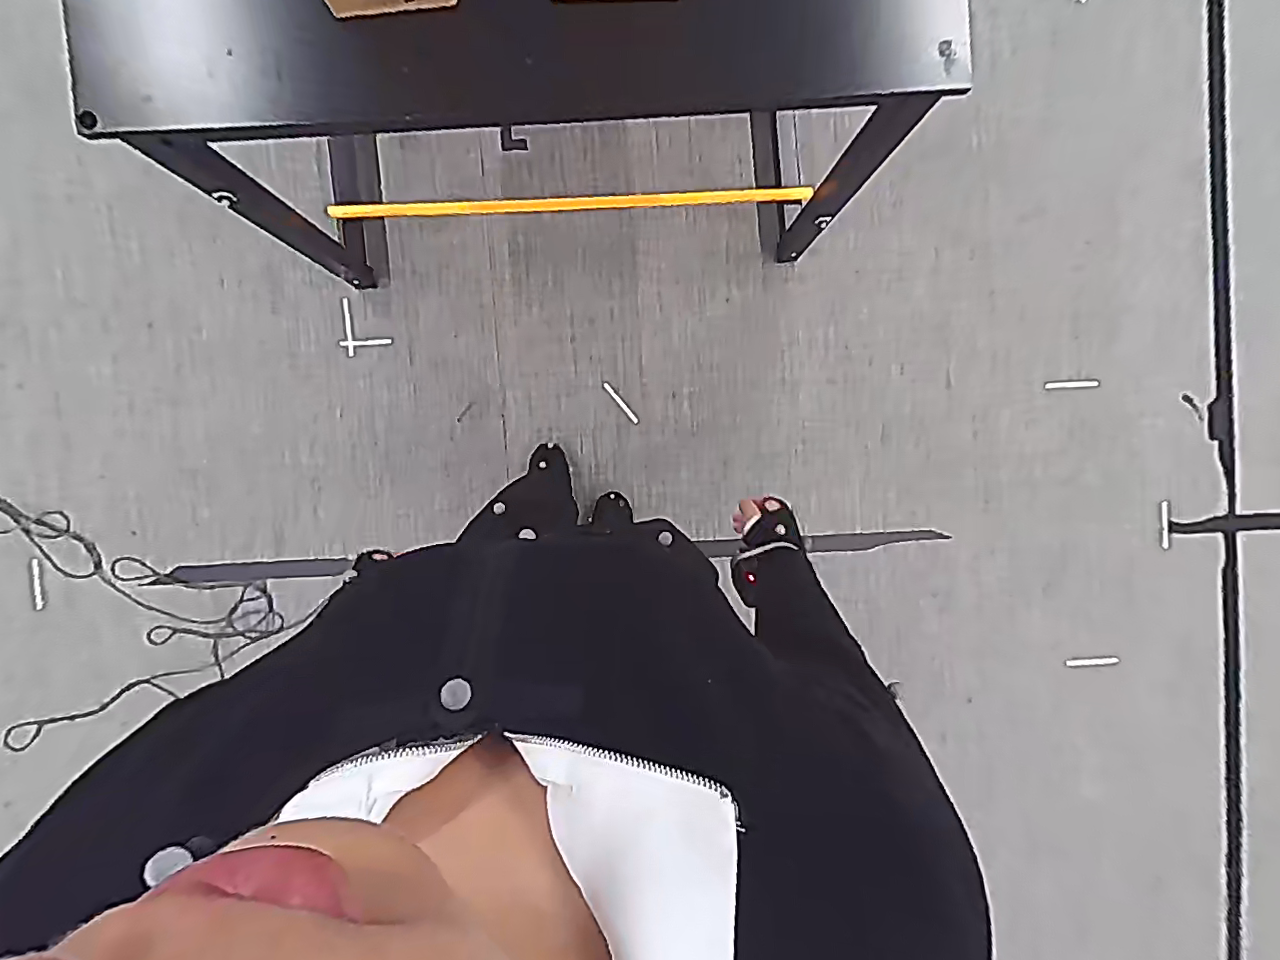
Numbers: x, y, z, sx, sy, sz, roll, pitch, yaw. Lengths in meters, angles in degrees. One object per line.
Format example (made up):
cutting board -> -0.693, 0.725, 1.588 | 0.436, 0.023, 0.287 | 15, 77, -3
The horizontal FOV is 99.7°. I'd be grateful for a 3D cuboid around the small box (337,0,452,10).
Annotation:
small box -> -0.332, -0.709, 0.643 | 0.168, 0.176, 0.179 | -8, 93, -2
